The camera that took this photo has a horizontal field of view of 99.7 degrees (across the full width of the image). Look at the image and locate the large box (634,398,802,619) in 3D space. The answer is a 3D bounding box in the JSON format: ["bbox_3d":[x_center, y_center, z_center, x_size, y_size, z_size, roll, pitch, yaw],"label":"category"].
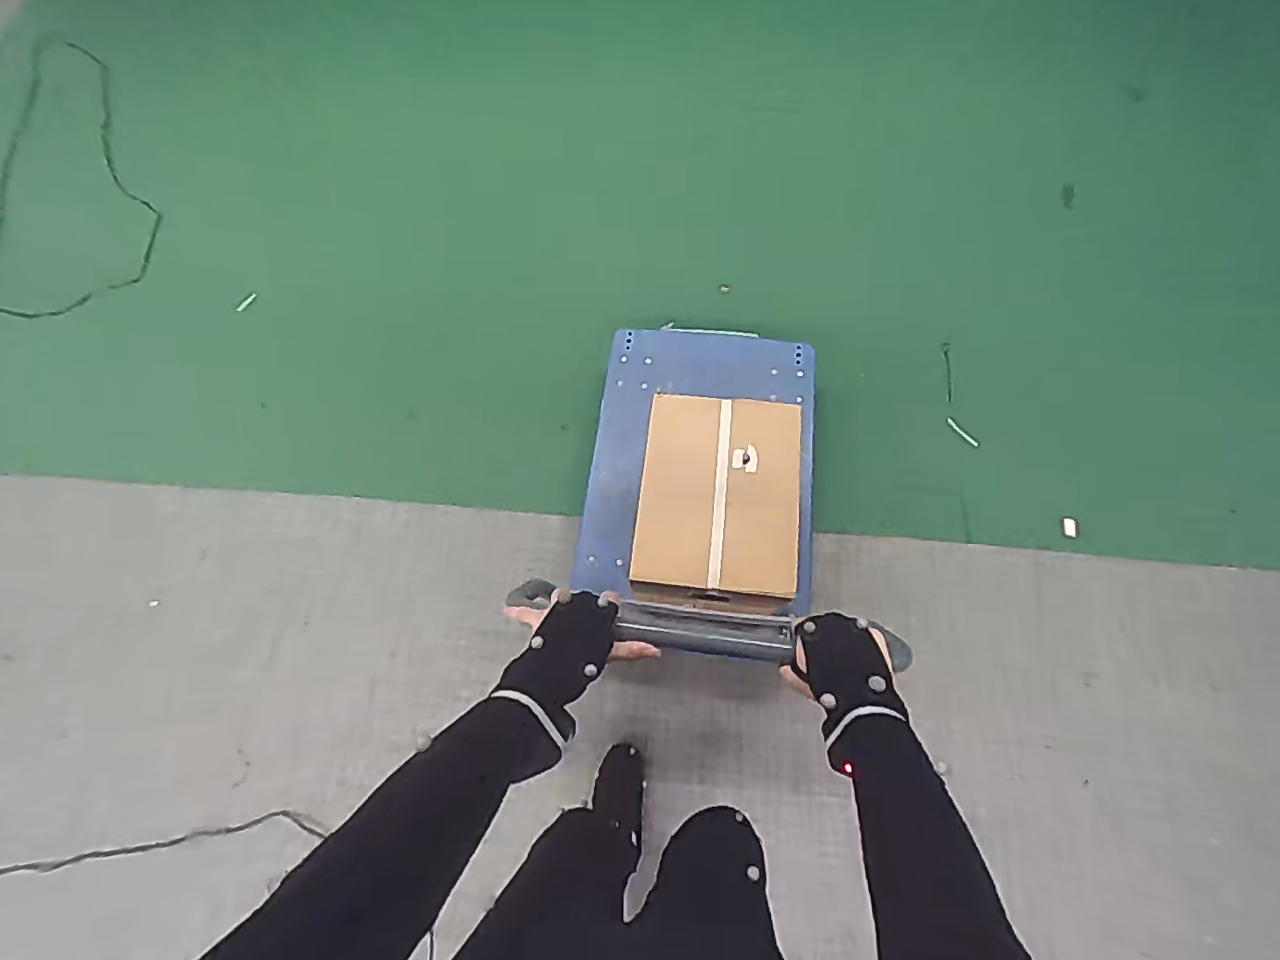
[{"bbox_3d":[0.170,0.078,1.203,0.320,0.320,0.408,6,69,4],"label":"large box"}]
